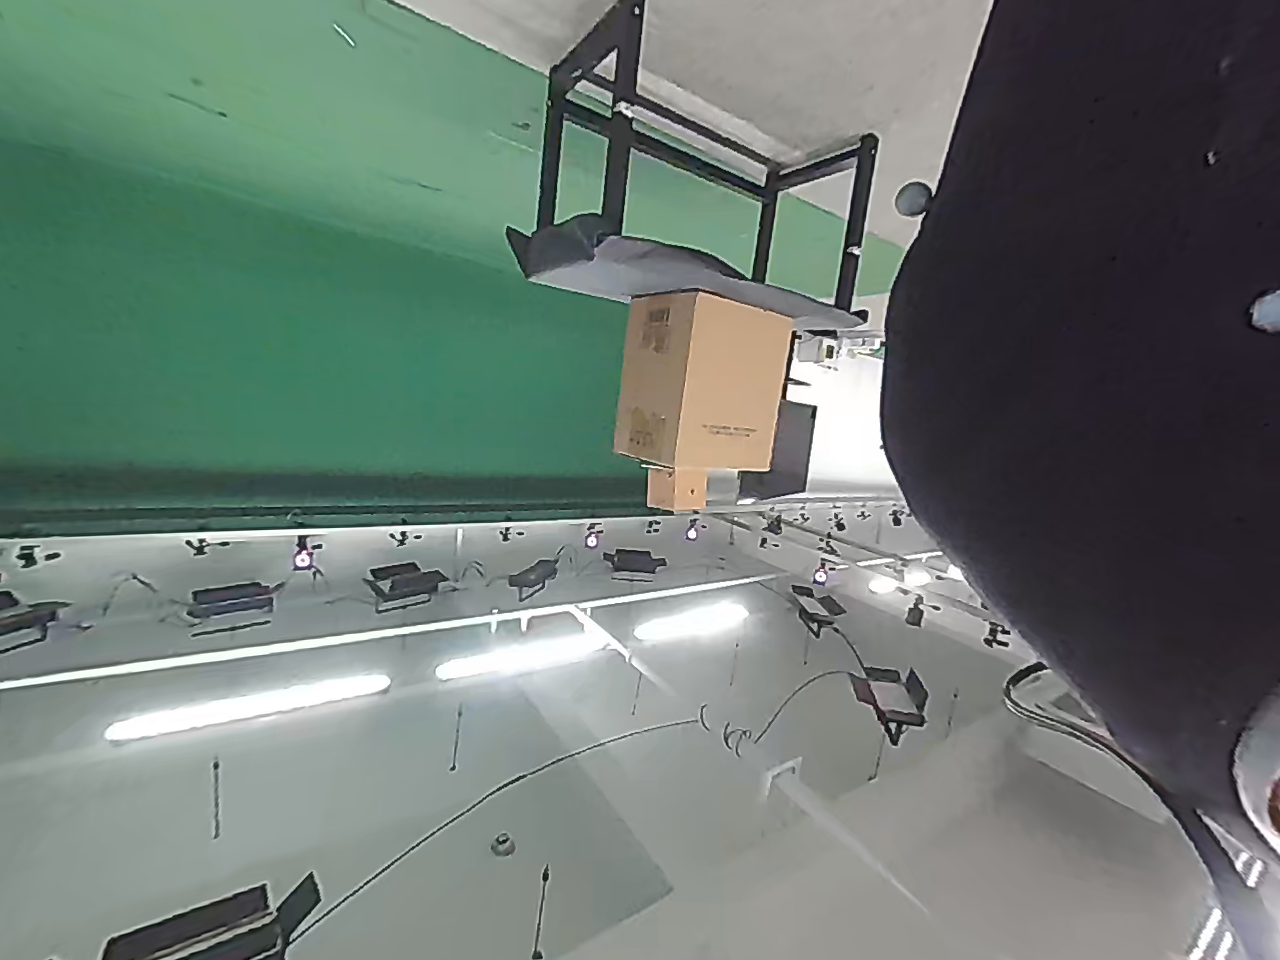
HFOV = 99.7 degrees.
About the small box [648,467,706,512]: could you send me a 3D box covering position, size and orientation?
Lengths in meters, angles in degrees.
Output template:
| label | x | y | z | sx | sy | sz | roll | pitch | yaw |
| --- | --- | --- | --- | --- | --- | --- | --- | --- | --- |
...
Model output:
| label | x | y | z | sx | sy | sz | roll | pitch | yaw |
| --- | --- | --- | --- | --- | --- | --- | --- | --- | --- |
| small box | 0.149 | 0.033 | 2.196 | 0.179 | 0.176 | 0.168 | 0 | -175 | -38 |
